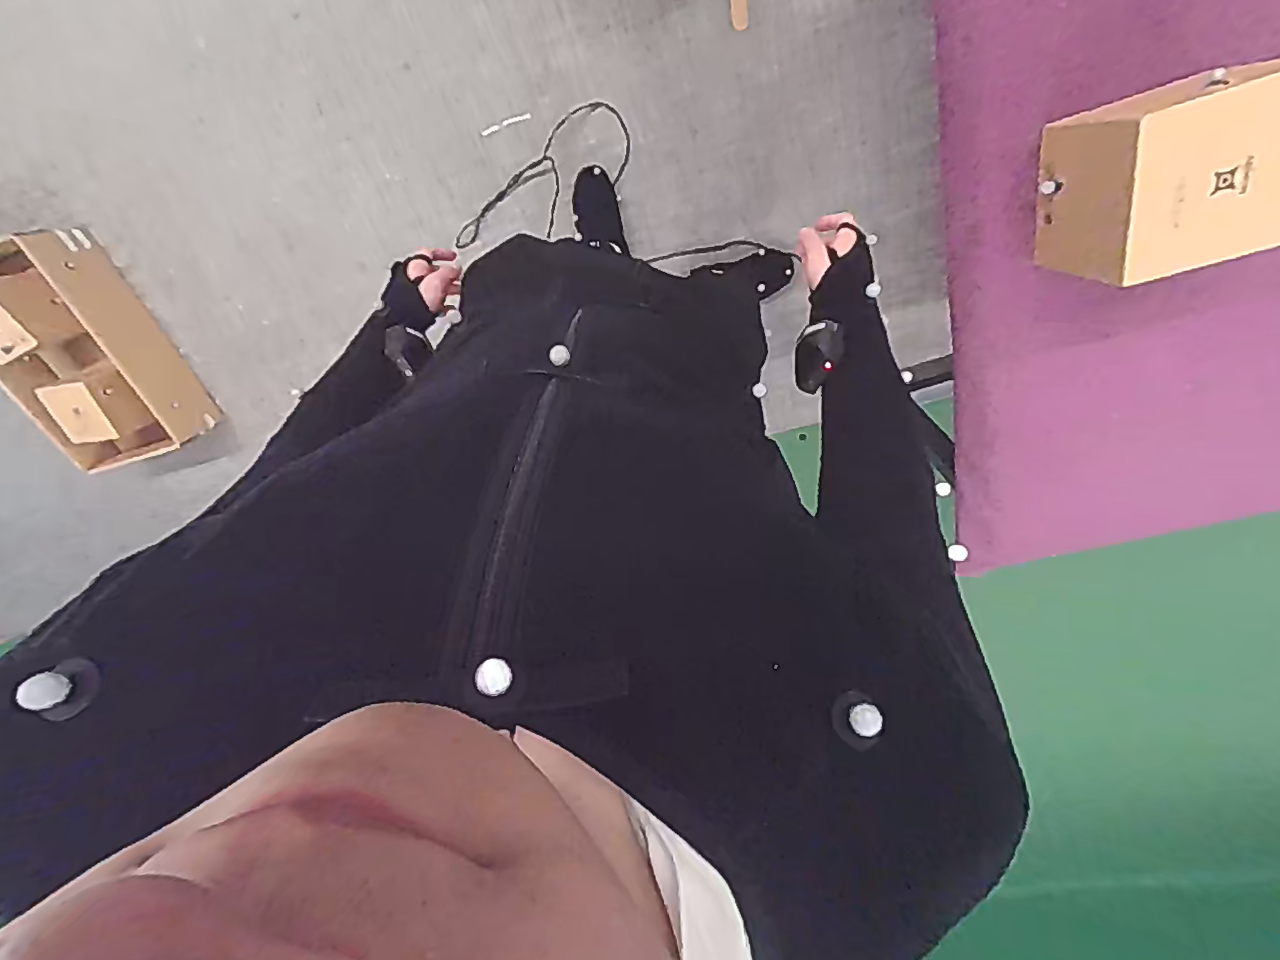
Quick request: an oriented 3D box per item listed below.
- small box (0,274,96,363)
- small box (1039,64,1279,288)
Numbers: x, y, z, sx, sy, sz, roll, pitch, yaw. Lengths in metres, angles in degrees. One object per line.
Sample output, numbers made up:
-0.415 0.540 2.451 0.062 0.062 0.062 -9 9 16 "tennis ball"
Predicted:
-1.692 -0.451 1.488 0.168 0.176 0.179 -18 118 14 "small box"
0.584 -0.331 0.590 0.179 0.176 0.168 -13 118 11 "small box"
